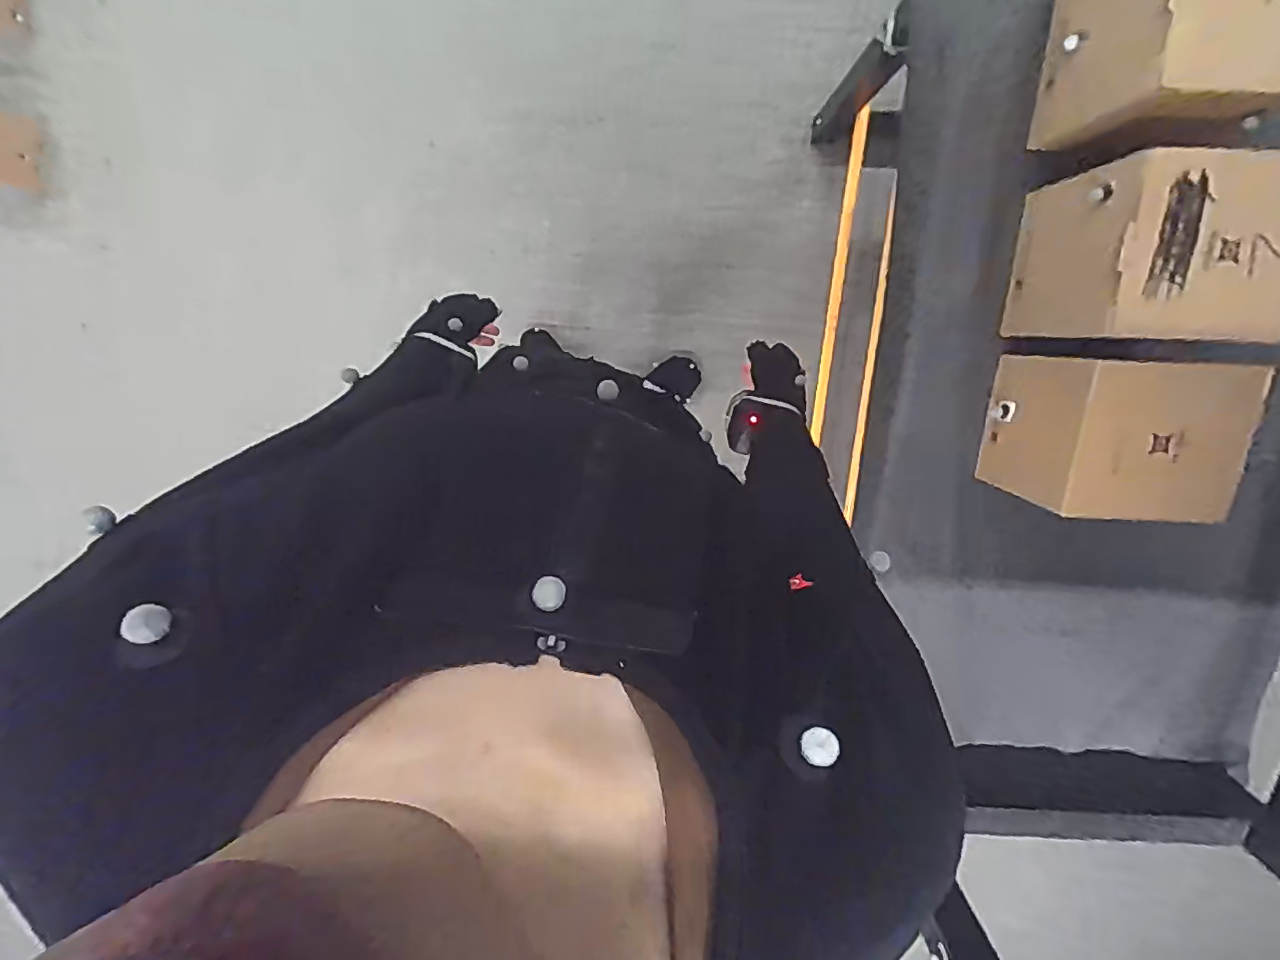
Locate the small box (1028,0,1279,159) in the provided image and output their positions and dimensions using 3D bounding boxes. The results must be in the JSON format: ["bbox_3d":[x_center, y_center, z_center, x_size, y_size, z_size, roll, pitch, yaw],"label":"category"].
[{"bbox_3d":[0.538,-0.433,0.532,0.179,0.176,0.168,1,105,0],"label":"small box"}]
